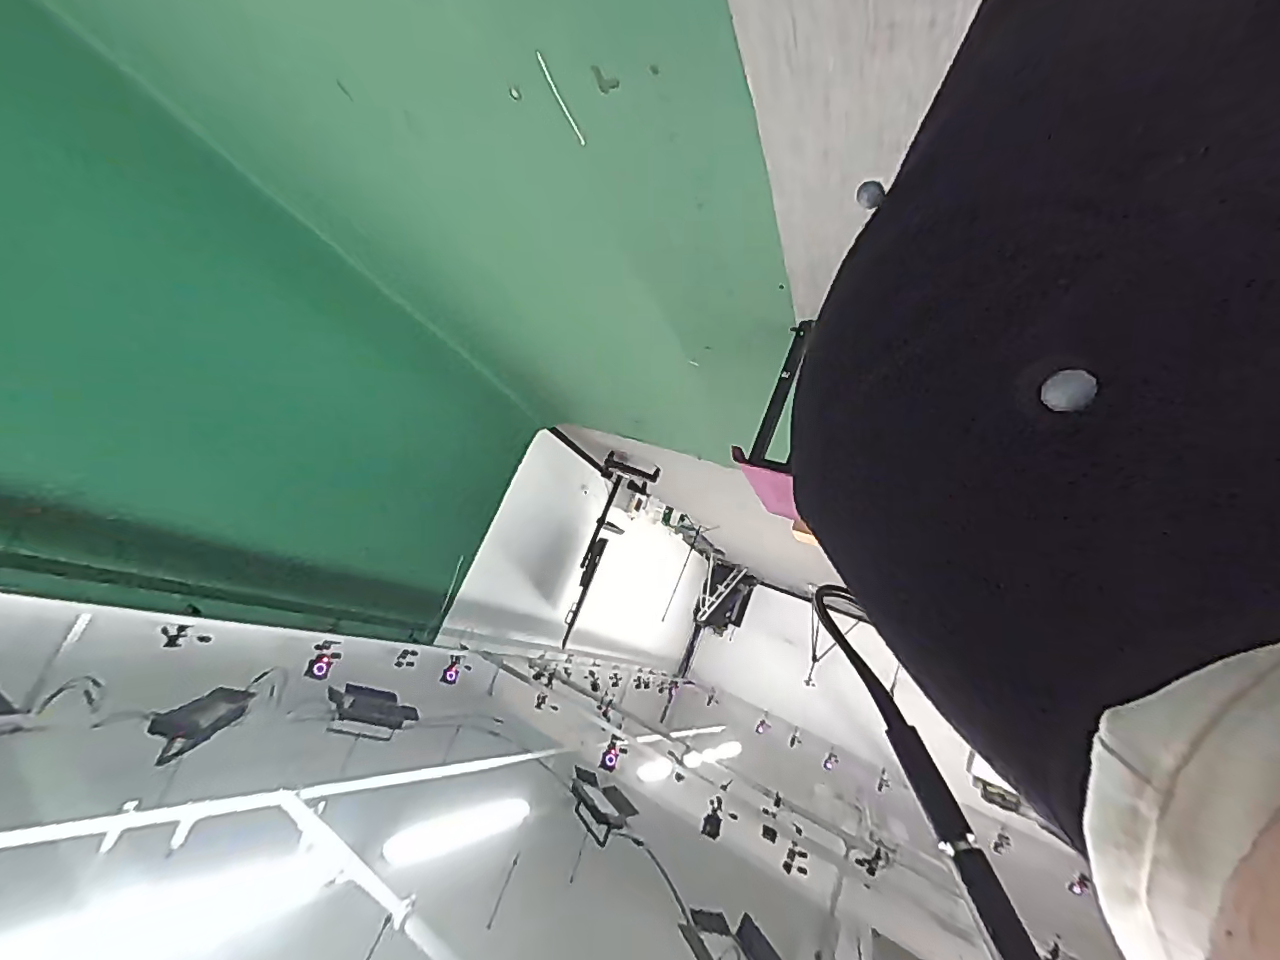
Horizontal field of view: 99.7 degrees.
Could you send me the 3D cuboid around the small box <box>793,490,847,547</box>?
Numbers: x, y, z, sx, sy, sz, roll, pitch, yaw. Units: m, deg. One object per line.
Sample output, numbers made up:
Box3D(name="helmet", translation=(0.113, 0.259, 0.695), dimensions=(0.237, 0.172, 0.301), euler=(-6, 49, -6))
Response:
Box3D(name="small box", translation=(0.749, 0.160, 2.235), dimensions=(0.168, 0.176, 0.179), euler=(16, 167, 27))
